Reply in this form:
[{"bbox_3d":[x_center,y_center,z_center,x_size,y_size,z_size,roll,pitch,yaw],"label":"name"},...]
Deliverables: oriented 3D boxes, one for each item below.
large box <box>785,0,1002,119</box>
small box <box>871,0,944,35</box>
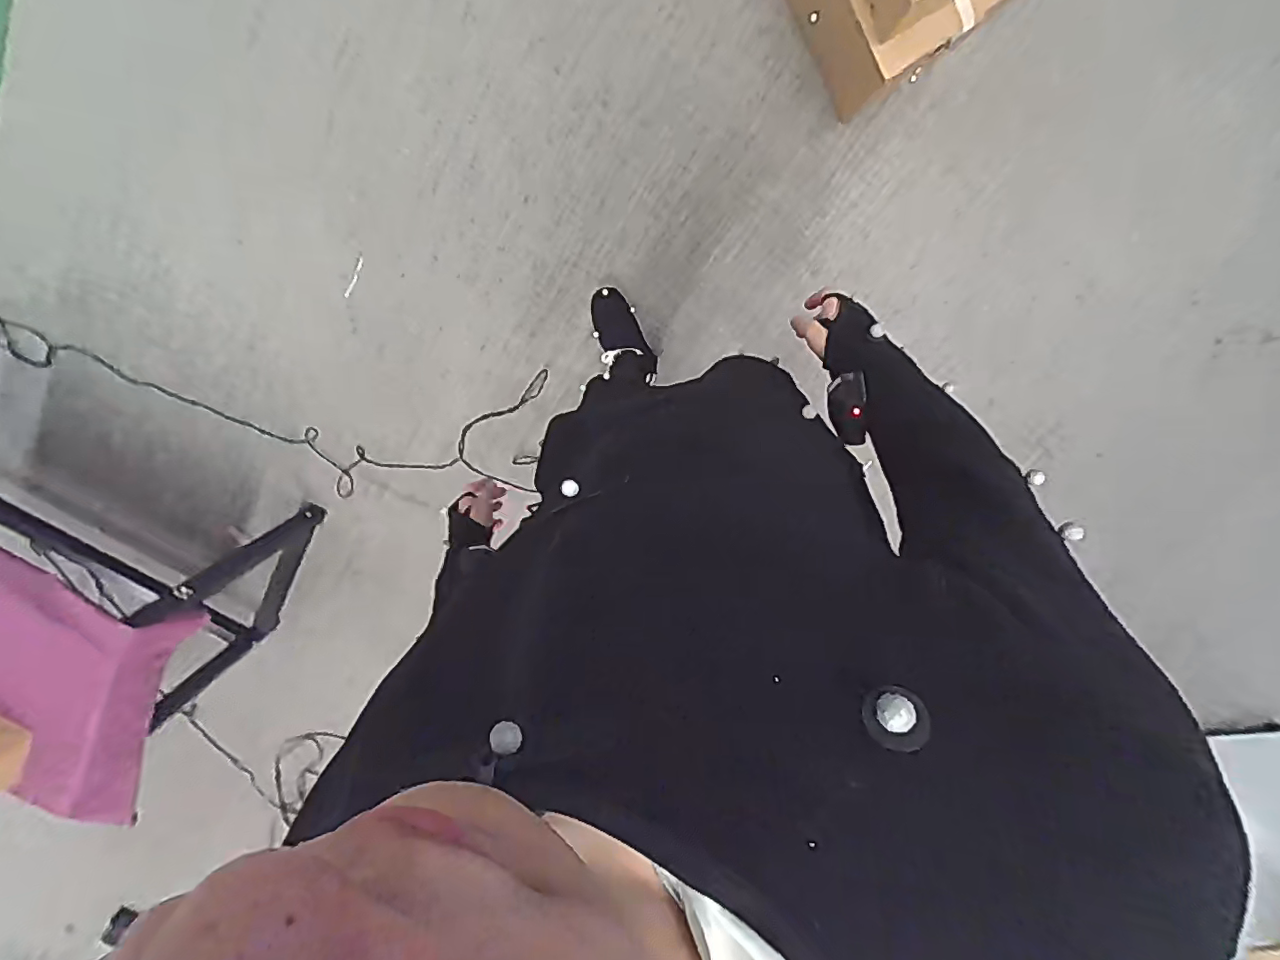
[{"bbox_3d":[0.489,-1.037,1.068,0.320,0.320,0.408,-31,105,14],"label":"large box"},{"bbox_3d":[0.467,-0.875,0.868,0.179,0.176,0.168,-26,107,15],"label":"small box"}]
